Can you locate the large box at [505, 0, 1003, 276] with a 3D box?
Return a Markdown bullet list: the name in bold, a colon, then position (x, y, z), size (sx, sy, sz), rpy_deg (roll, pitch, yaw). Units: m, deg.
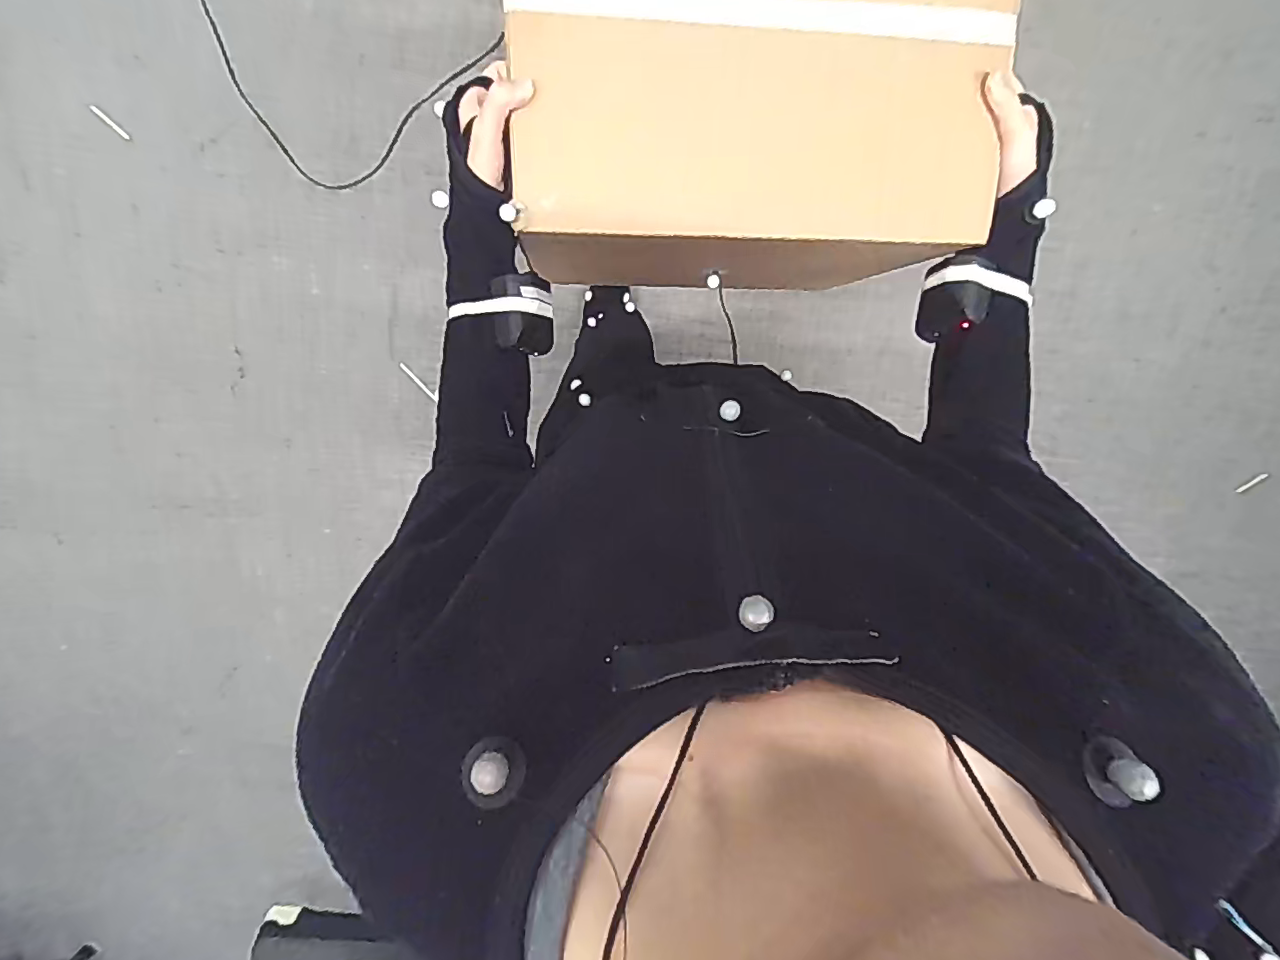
- **large box**: position (0.082, -0.394, 0.569), size (0.408, 0.320, 0.320), rpy_deg (-1, 102, -6)
